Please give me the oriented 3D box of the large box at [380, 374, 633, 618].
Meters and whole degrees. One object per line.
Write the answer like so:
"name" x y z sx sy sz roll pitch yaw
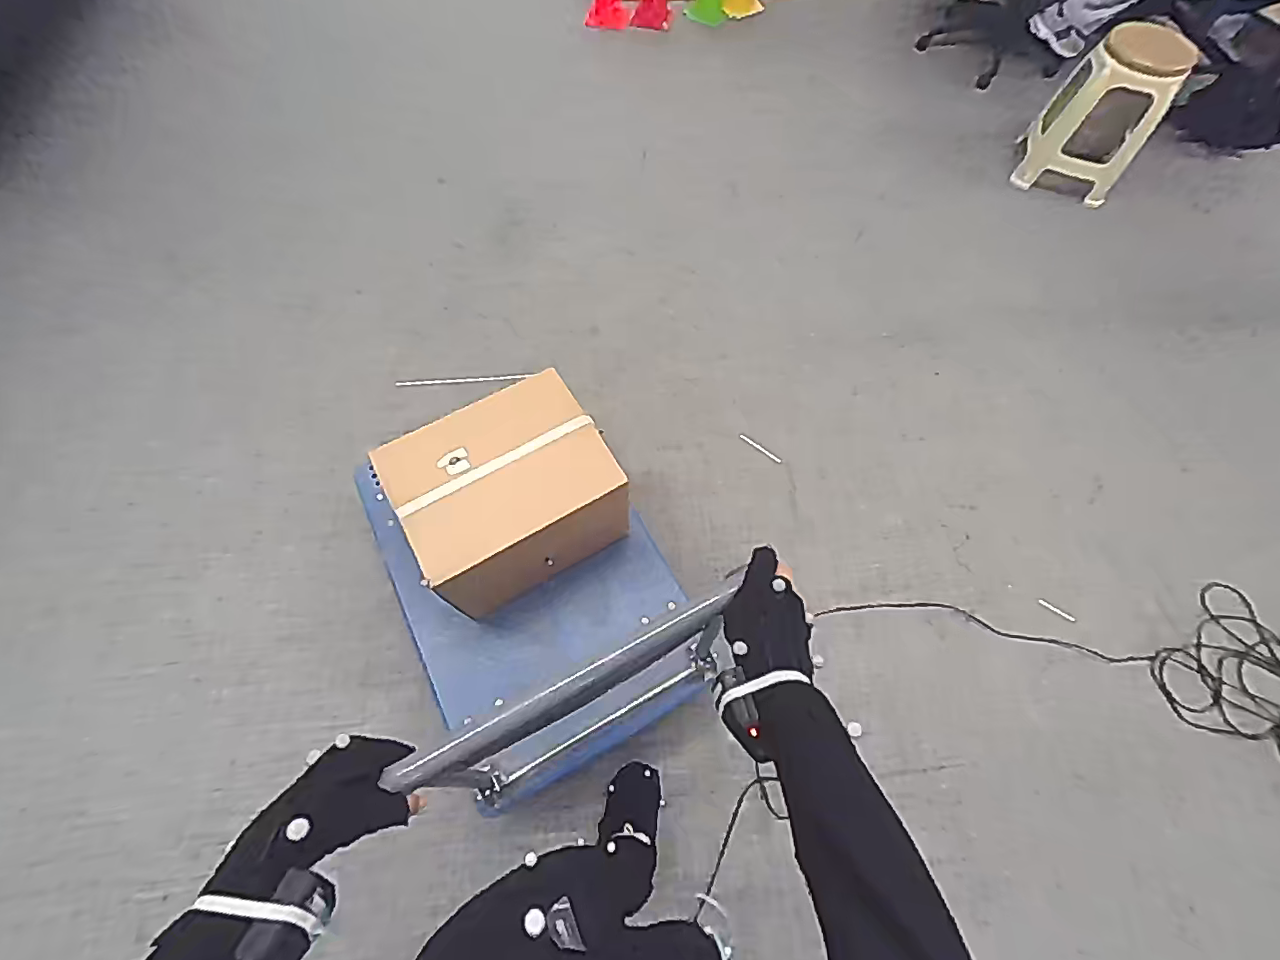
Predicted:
"large box" -0.262 0.045 1.180 0.408 0.320 0.320 -29 68 -14
